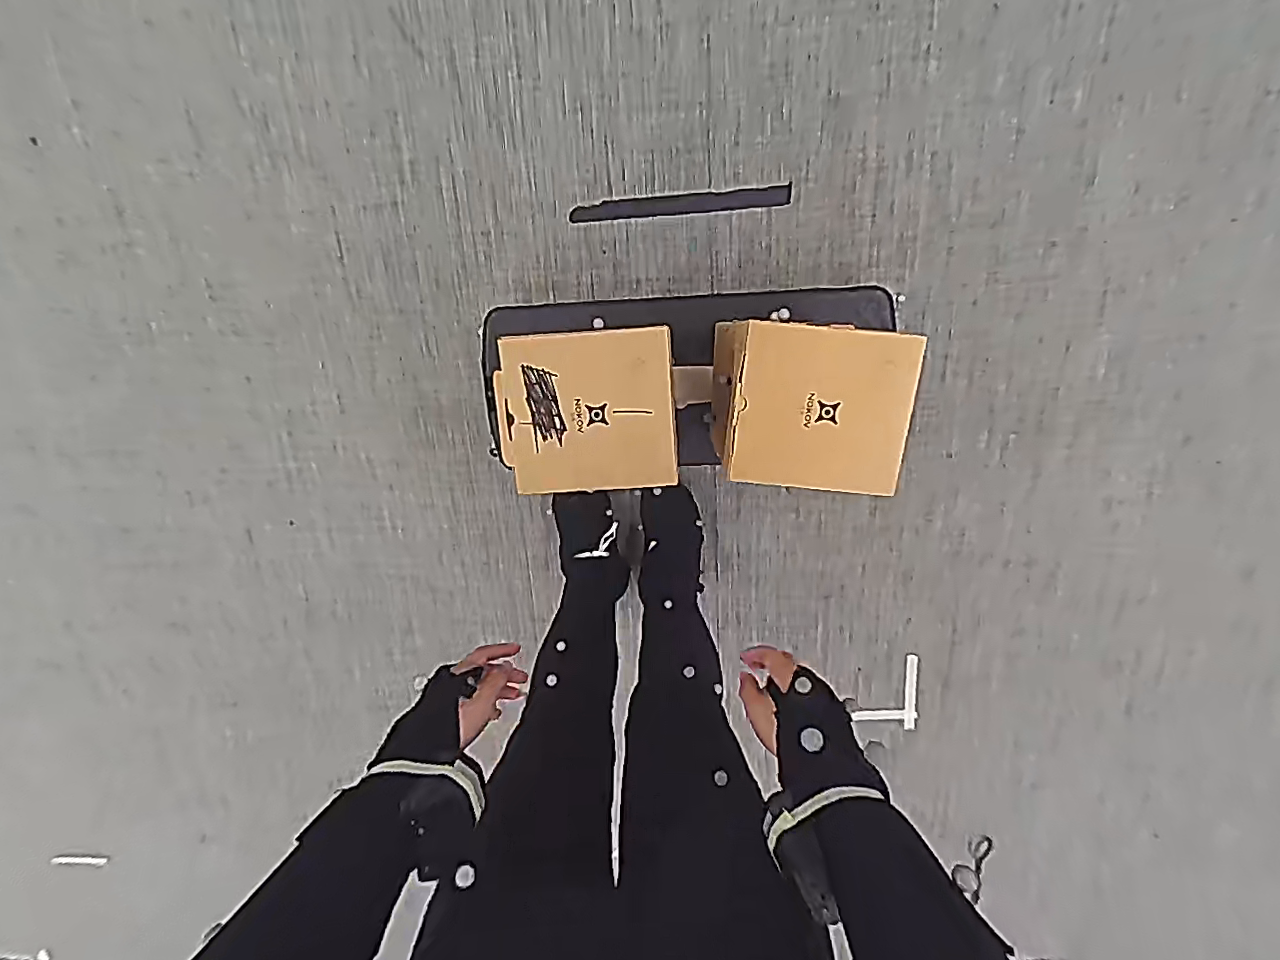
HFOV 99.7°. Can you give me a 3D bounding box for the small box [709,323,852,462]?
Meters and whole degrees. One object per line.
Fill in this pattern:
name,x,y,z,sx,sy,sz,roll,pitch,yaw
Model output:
small box,0.189,-0.133,0.779,0.168,0.176,0.179,2,105,3
